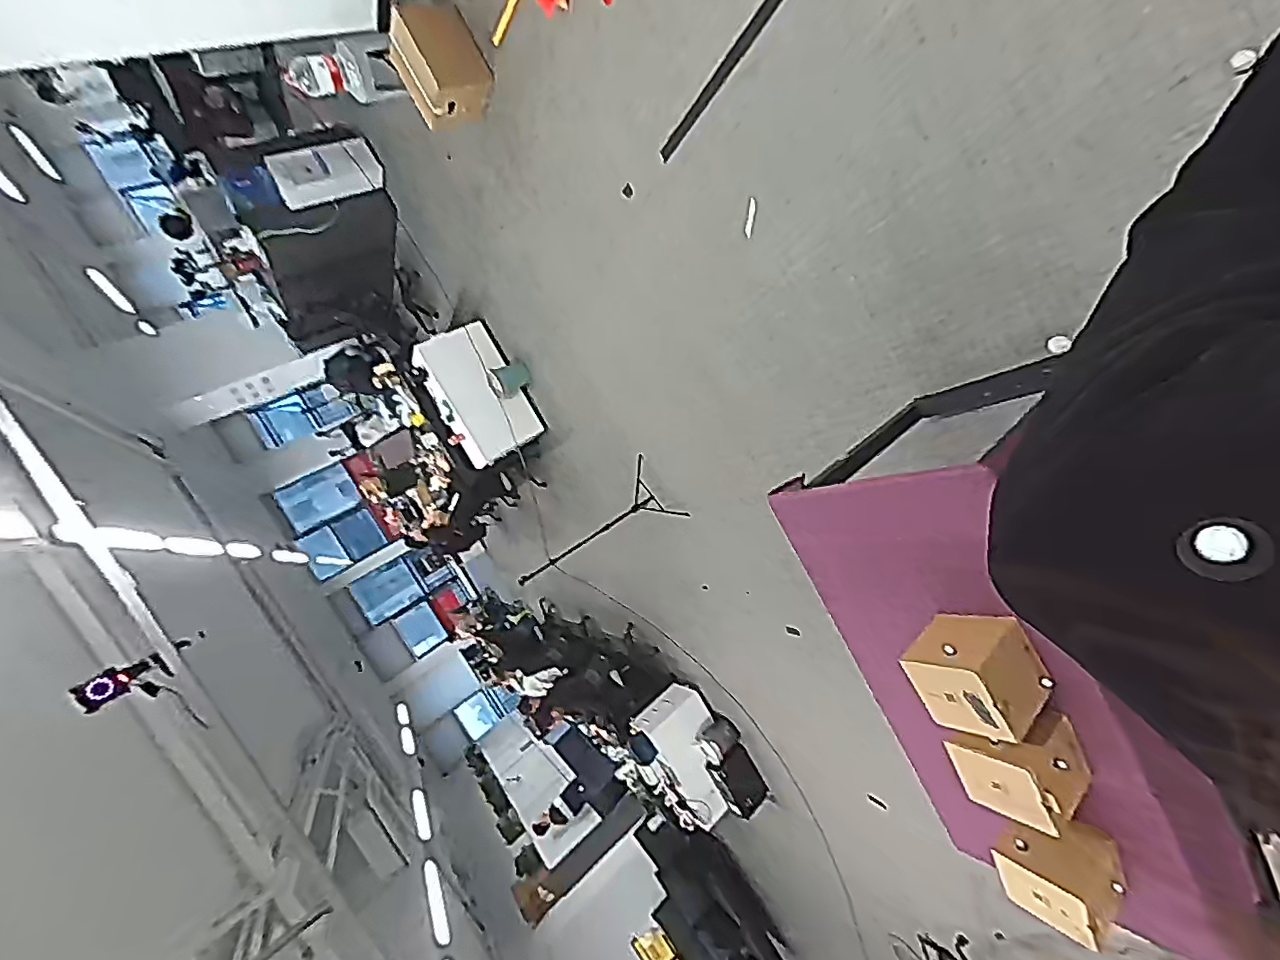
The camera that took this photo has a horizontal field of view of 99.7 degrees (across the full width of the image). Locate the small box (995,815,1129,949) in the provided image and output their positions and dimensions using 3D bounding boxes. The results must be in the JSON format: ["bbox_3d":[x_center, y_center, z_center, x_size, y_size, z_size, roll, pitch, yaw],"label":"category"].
[{"bbox_3d":[0.937,0.857,1.200,0.179,0.176,0.168,2,121,59],"label":"small box"}]

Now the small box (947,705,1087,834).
[{"bbox_3d":[0.797,0.580,1.136,0.179,0.176,0.168,-9,110,62],"label":"small box"}]

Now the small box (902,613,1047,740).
[{"bbox_3d":[0.688,0.390,1.105,0.168,0.176,0.179,58,155,-3],"label":"small box"}]
